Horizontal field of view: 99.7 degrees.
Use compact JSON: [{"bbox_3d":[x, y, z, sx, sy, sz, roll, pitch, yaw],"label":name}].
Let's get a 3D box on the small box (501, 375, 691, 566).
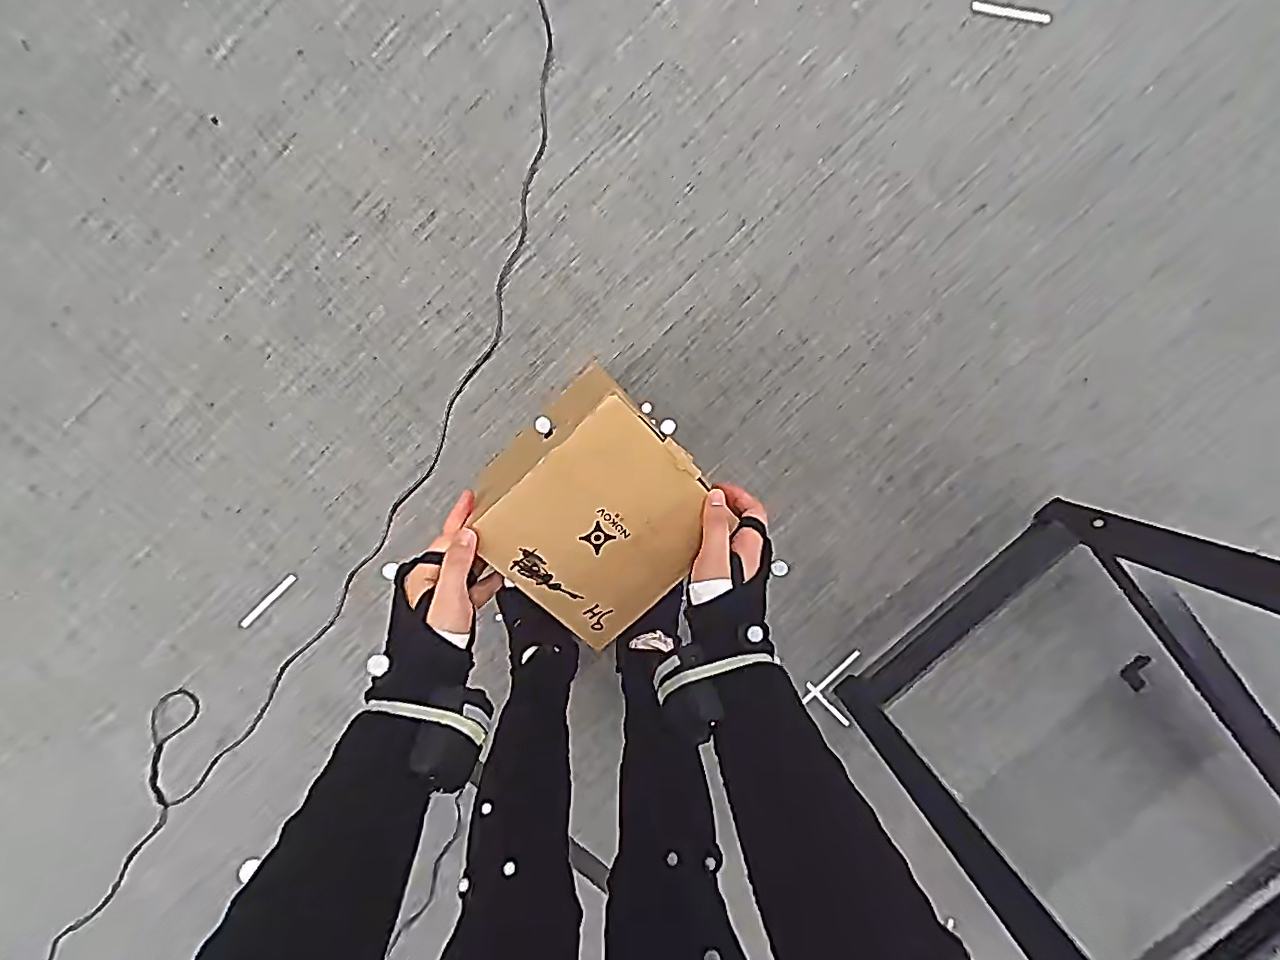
[{"bbox_3d":[-0.057,-0.020,0.727,0.168,0.176,0.179,39,94,-11],"label":"small box"}]
